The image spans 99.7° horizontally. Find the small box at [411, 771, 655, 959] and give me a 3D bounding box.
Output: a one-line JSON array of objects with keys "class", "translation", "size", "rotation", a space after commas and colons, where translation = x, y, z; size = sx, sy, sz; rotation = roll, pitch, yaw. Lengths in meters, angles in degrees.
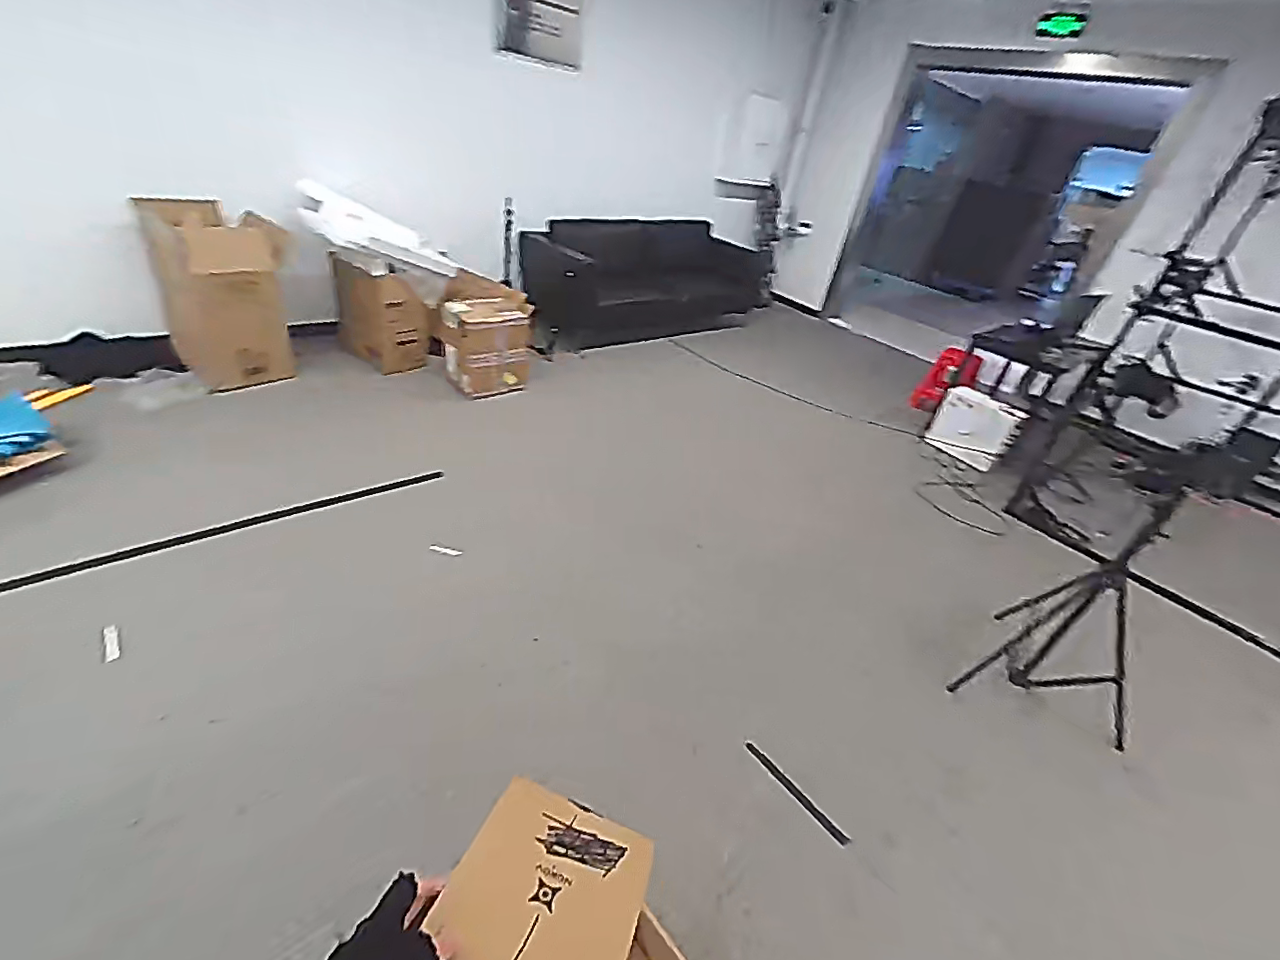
[{"class": "small box", "translation": [-0.104, 0.429, 0.505], "size": [0.168, 0.176, 0.179], "rotation": [20, 19, 10]}]
